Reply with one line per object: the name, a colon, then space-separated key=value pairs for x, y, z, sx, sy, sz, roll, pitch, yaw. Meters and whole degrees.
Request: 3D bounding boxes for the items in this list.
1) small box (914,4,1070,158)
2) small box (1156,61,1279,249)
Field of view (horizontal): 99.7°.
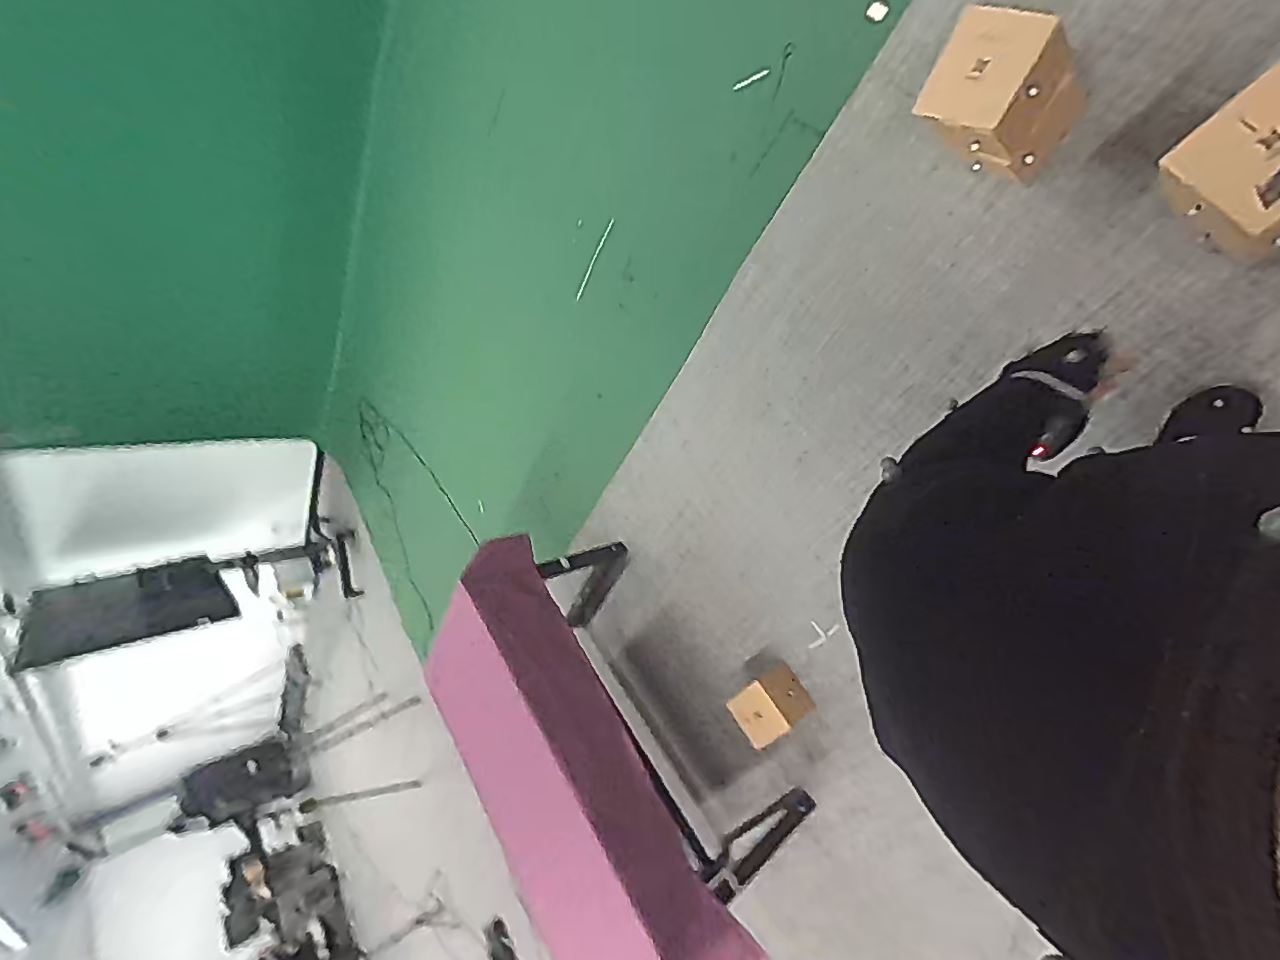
small box: x=0.669 y=-0.743 z=1.023 sx=0.168 sy=0.176 sz=0.179 roll=45 pitch=124 yaw=31
small box: x=0.927 y=-0.468 z=0.800 sx=0.168 sy=0.176 sz=0.179 roll=-46 pitch=63 yaw=39
